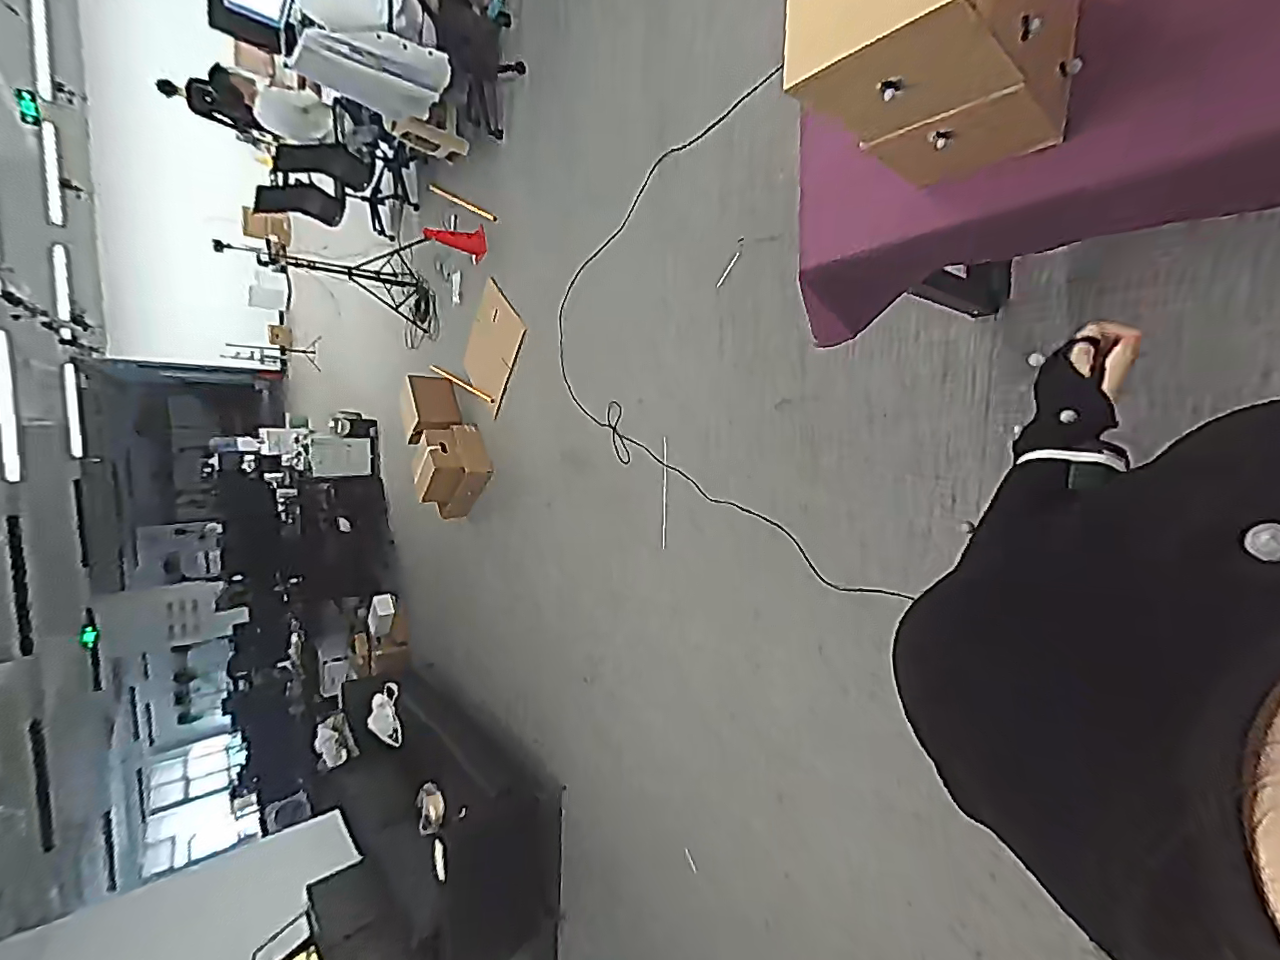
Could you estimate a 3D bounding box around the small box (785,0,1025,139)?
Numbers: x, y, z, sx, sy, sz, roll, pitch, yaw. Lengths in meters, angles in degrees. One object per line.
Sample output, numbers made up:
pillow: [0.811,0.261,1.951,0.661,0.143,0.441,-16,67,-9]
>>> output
small box: [0.270,-0.483,0.544,0.179,0.176,0.168,8,99,50]

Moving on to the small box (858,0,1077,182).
small box: [0.392,-0.490,0.654,0.179,0.176,0.168,9,100,49]
